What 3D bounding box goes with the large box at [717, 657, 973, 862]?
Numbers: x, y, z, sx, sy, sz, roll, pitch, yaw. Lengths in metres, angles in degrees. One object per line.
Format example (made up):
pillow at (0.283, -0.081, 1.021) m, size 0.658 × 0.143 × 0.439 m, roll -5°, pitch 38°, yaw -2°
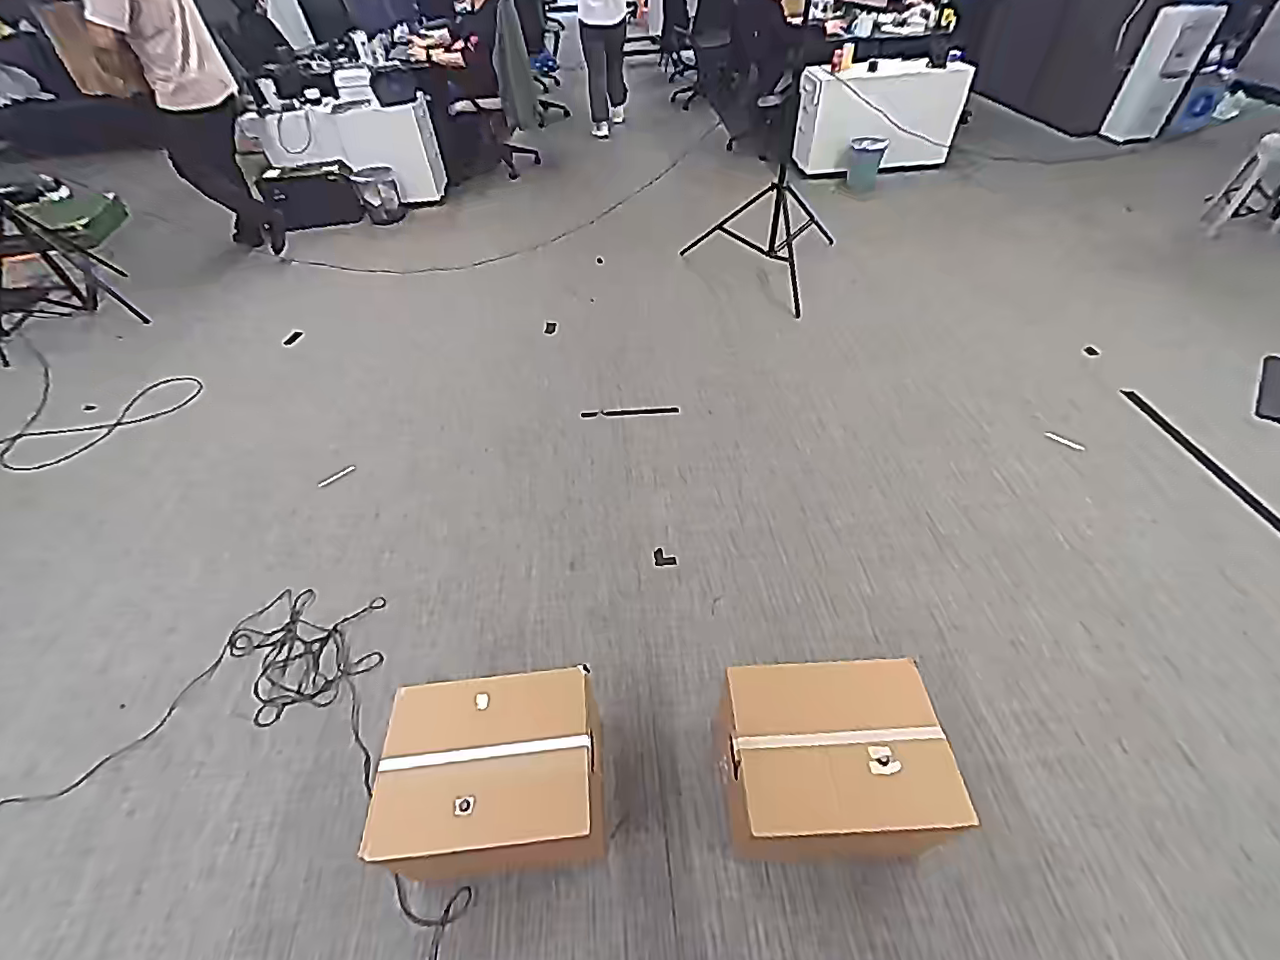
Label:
large box at (0.397, 0.608, 1.173) m, size 0.408 × 0.320 × 0.320 m, roll -2°, pitch 47°, yaw 0°
